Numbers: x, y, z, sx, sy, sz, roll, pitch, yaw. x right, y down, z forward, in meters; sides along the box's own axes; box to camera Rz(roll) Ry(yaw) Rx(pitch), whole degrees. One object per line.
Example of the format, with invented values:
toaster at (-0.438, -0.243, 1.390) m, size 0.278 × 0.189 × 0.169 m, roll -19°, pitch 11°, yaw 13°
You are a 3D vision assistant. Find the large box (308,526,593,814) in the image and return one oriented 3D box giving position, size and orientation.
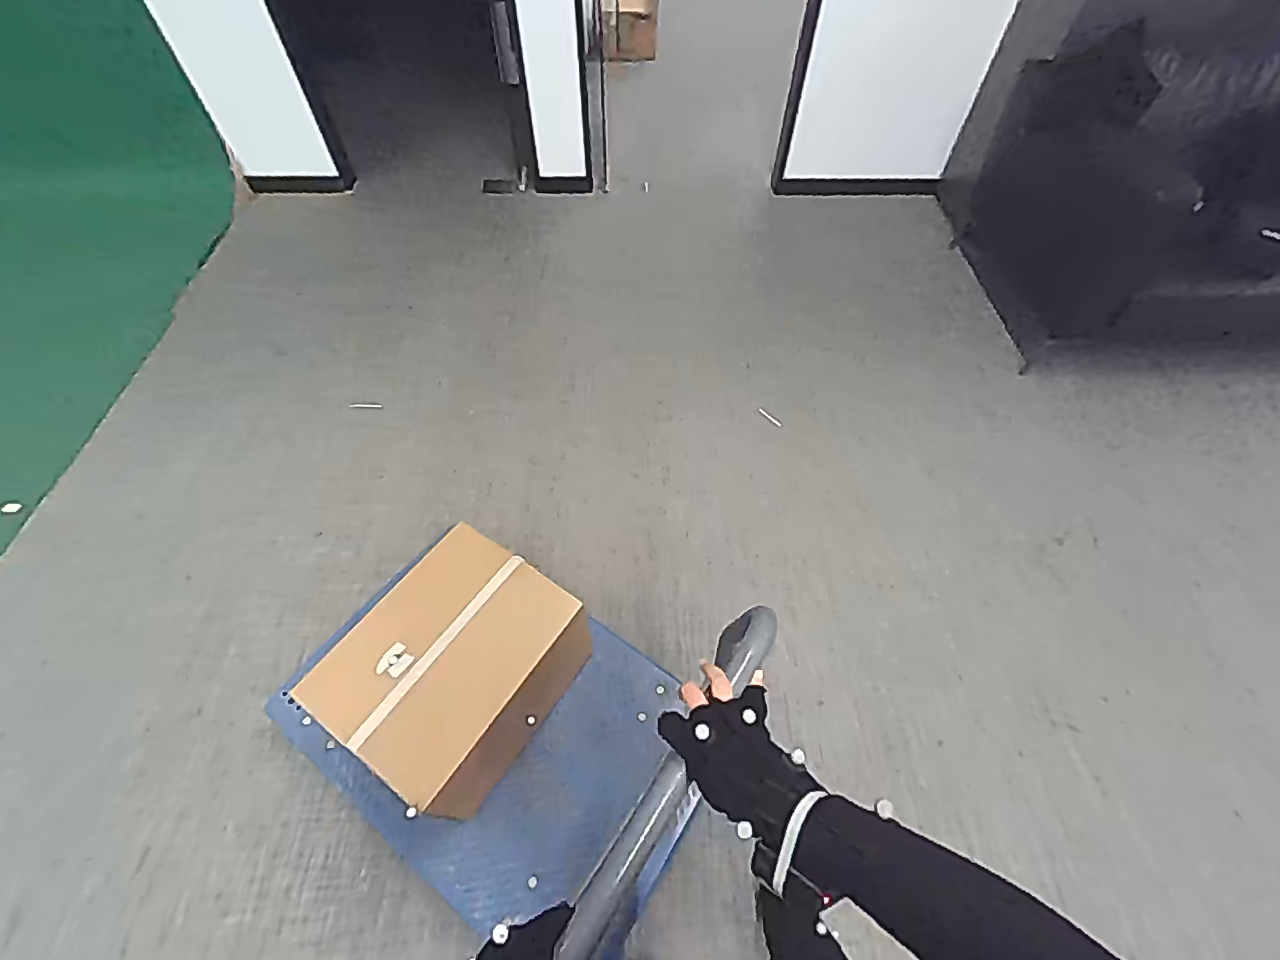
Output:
large box at (-0.331, 0.378, 1.081) m, size 0.320 × 0.320 × 0.408 m, roll 28°, pitch 61°, yaw 18°
